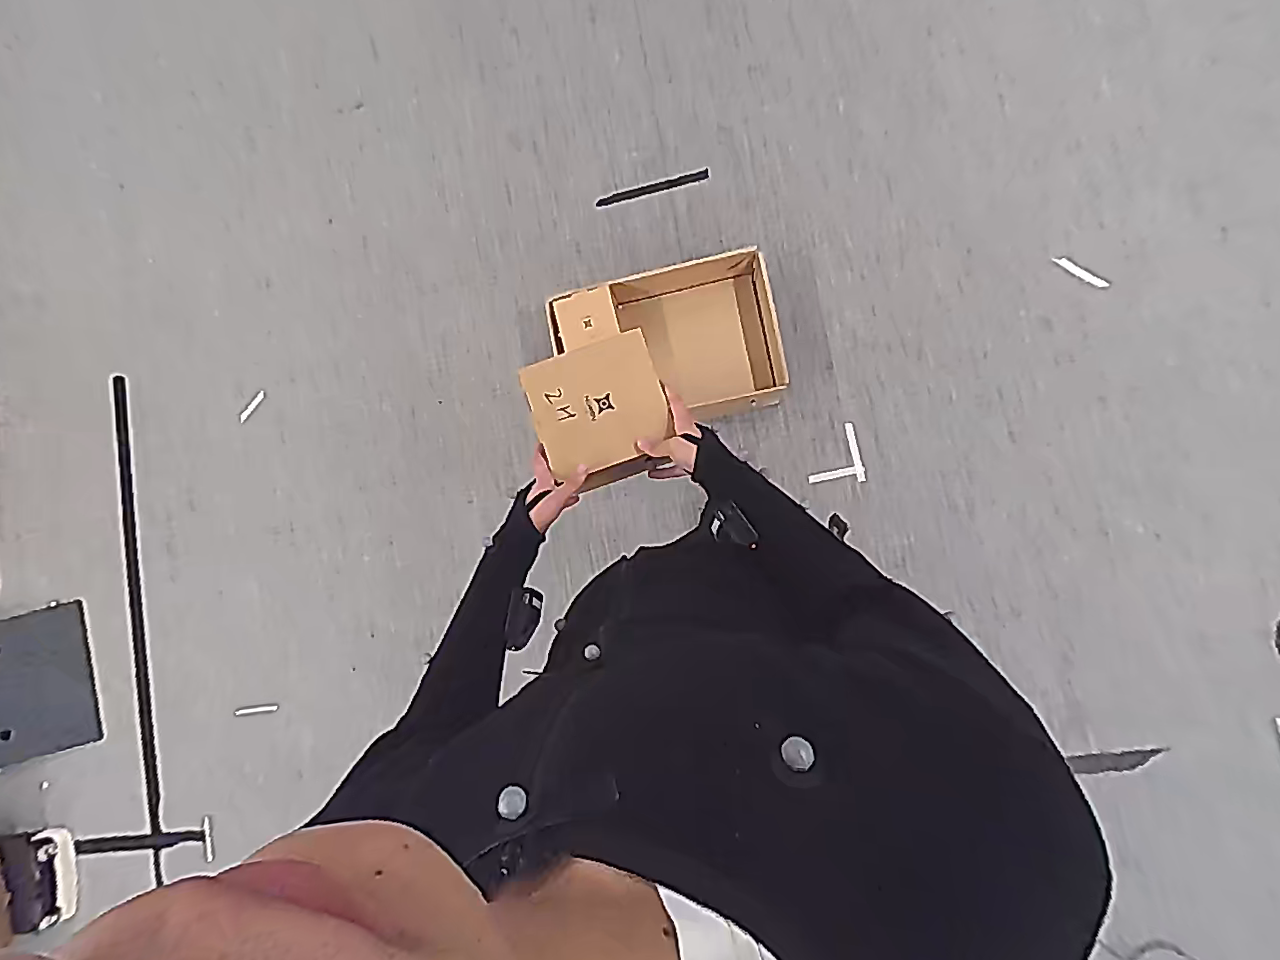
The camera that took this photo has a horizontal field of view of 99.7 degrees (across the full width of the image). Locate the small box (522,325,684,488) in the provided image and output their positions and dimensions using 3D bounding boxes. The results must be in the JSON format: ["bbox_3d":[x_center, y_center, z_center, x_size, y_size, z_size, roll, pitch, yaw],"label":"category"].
[{"bbox_3d":[-0.047,-0.094,0.779,0.179,0.176,0.168,-19,84,1],"label":"small box"}]
